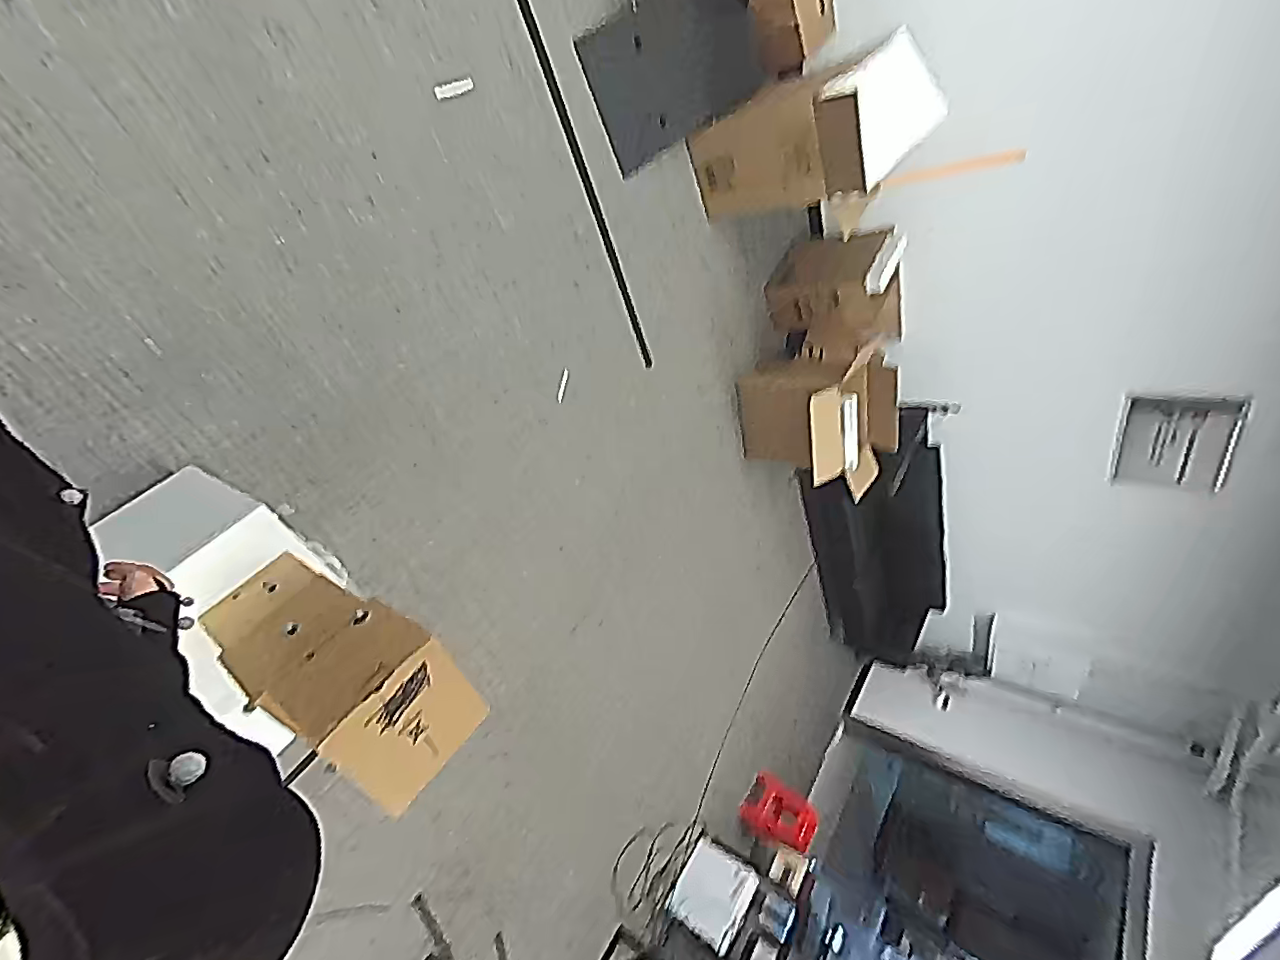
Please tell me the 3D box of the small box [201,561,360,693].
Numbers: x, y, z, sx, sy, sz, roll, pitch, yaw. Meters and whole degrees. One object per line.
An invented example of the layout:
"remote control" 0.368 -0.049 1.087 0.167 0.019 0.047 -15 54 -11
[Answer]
"small box" -0.602 0.259 0.933 0.168 0.176 0.179 -48 132 -32

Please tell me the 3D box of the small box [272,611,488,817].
"small box" -0.347 0.300 0.729 0.168 0.176 0.179 -46 132 -35
